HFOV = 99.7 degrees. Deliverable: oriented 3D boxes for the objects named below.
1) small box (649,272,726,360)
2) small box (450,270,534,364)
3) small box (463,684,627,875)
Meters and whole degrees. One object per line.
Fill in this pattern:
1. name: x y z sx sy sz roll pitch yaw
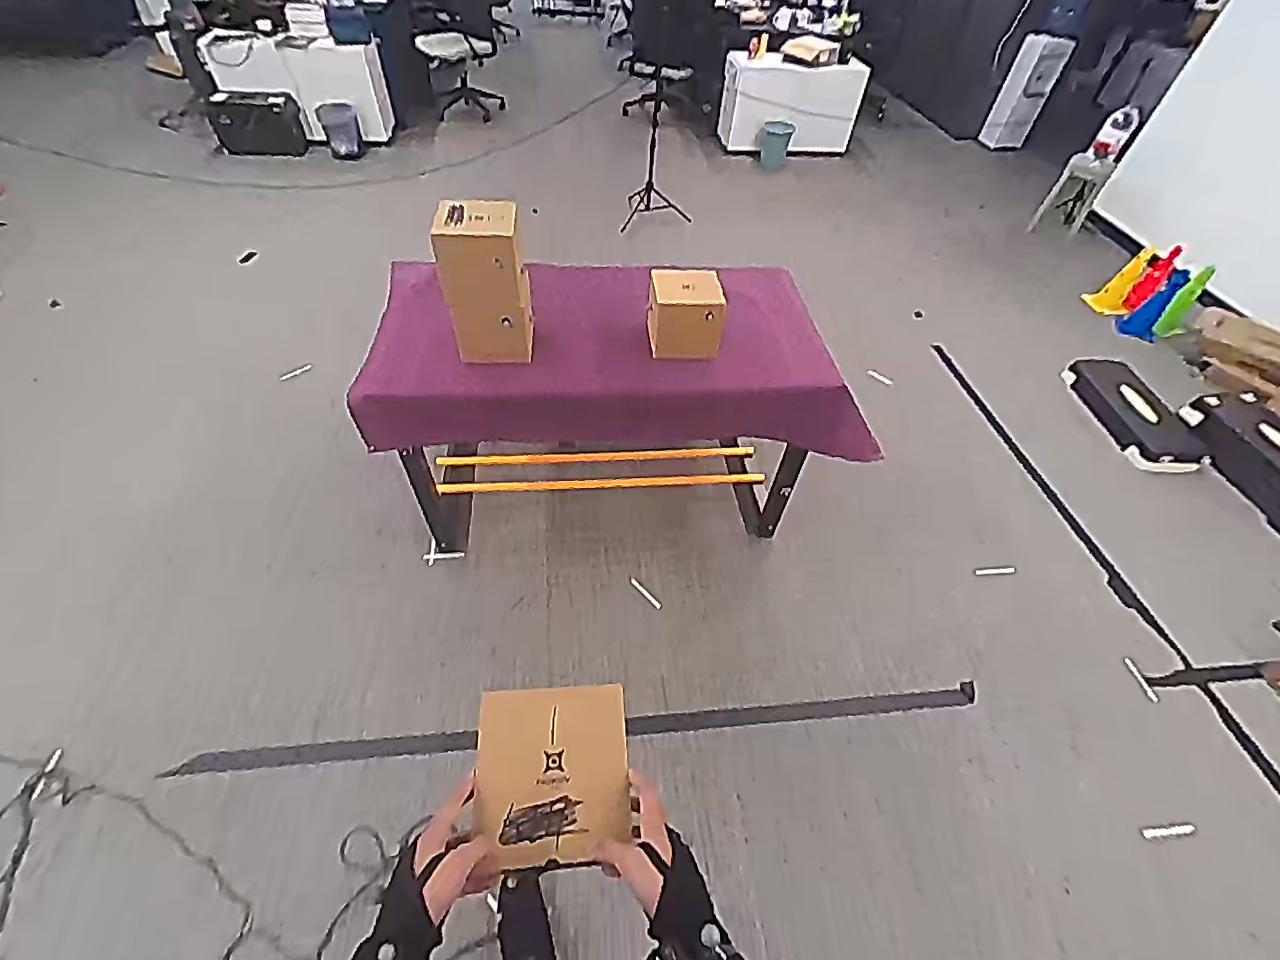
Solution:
1. small box: 0.118 -0.433 1.435 0.179 0.176 0.168 -1 49 -6
2. small box: -0.366 -0.411 1.374 0.179 0.176 0.168 -1 50 -6
3. small box: -0.105 0.358 0.647 0.168 0.176 0.179 0 54 -8
